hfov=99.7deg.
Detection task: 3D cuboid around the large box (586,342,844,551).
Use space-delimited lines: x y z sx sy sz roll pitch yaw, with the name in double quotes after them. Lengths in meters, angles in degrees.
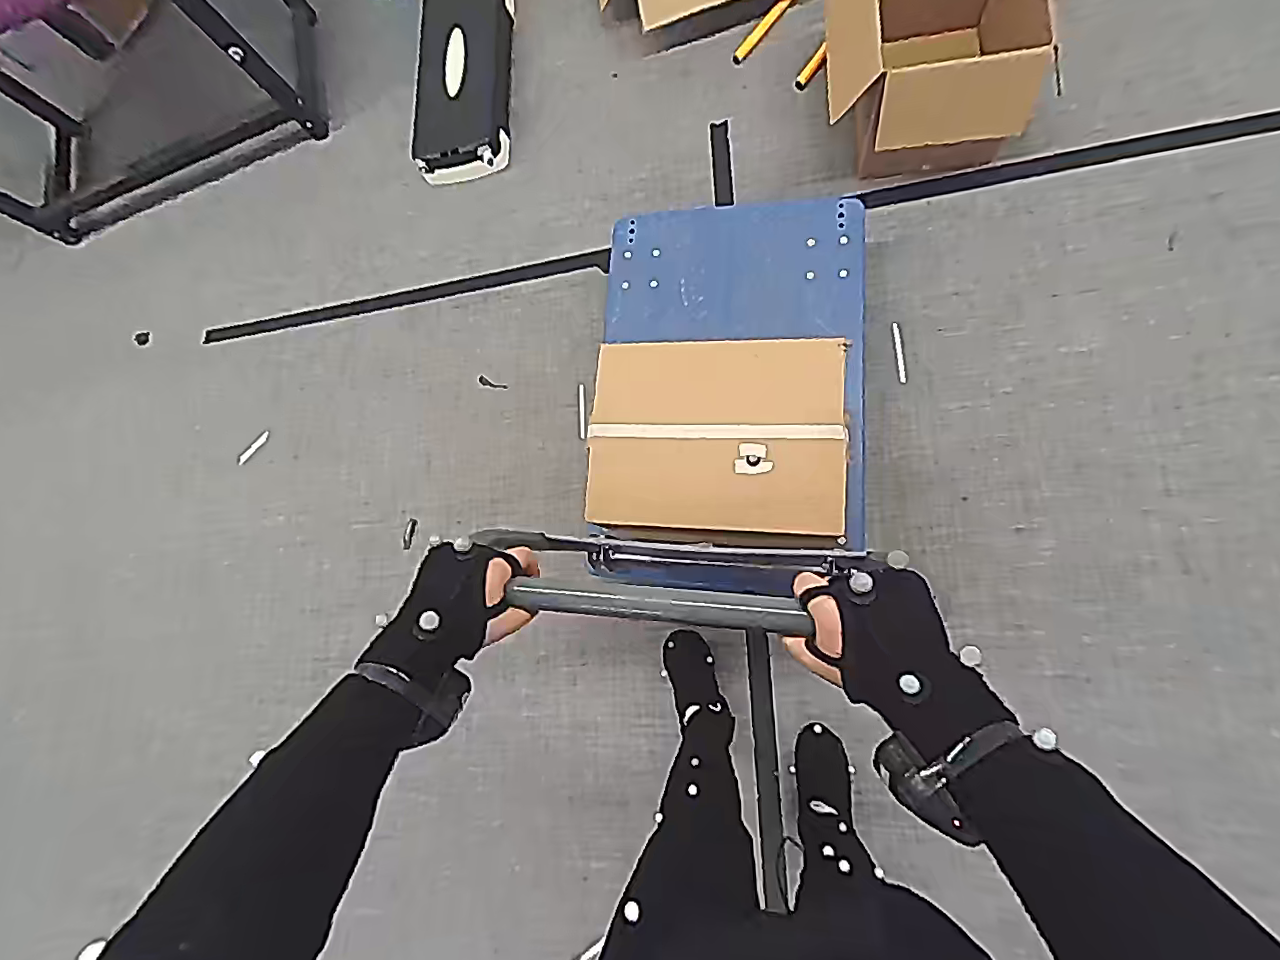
0.141 -0.039 0.998 0.408 0.320 0.320 1 80 12 "large box"
